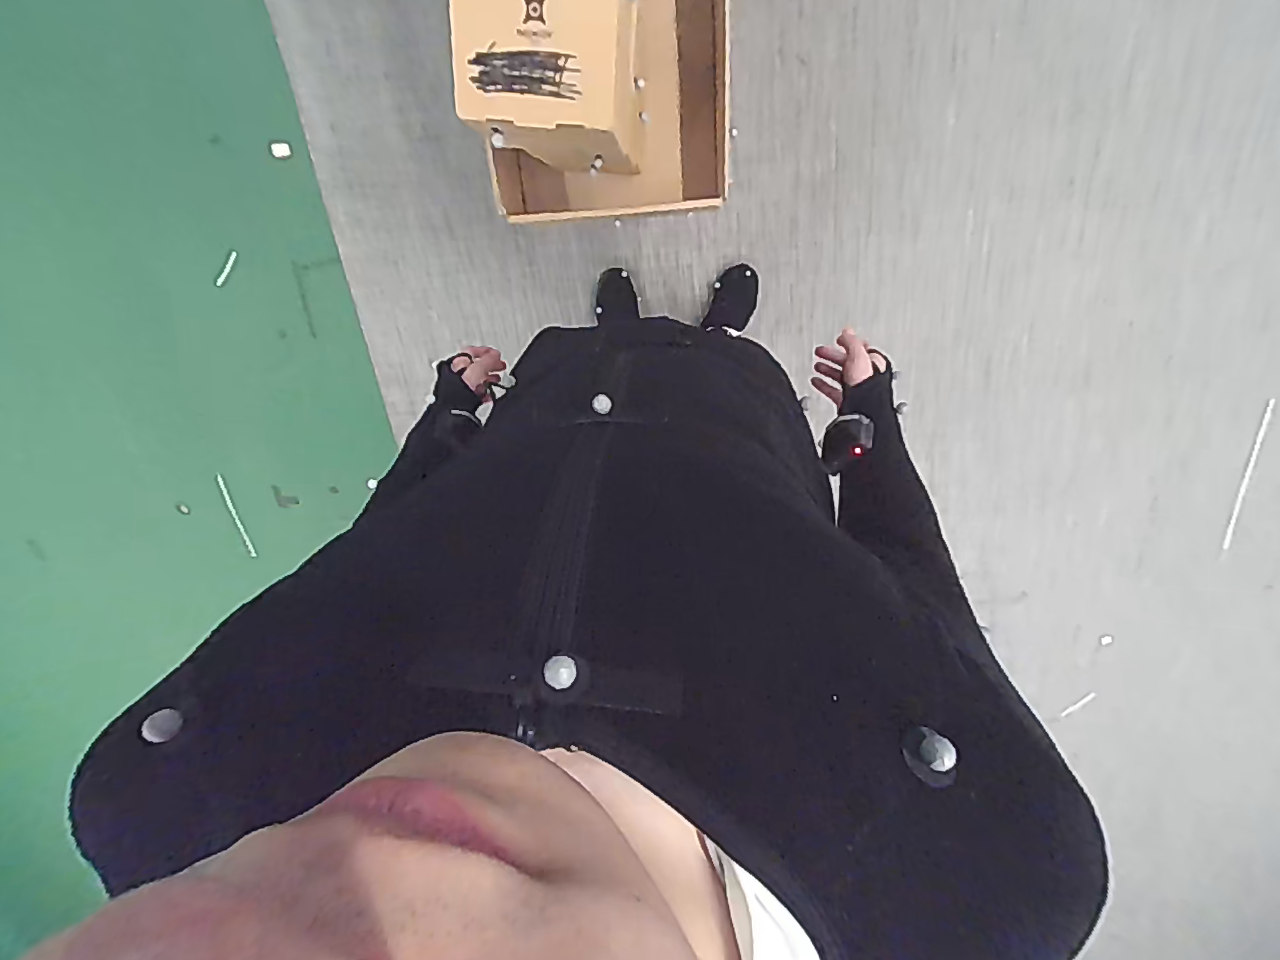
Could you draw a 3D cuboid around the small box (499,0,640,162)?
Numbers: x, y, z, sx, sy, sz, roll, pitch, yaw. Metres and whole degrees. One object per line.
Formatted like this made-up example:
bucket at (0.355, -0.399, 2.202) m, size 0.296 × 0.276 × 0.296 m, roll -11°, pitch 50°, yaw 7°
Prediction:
small box at (-0.091, -0.558, 0.751) m, size 0.168 × 0.176 × 0.179 m, roll 7°, pitch 113°, yaw 0°
